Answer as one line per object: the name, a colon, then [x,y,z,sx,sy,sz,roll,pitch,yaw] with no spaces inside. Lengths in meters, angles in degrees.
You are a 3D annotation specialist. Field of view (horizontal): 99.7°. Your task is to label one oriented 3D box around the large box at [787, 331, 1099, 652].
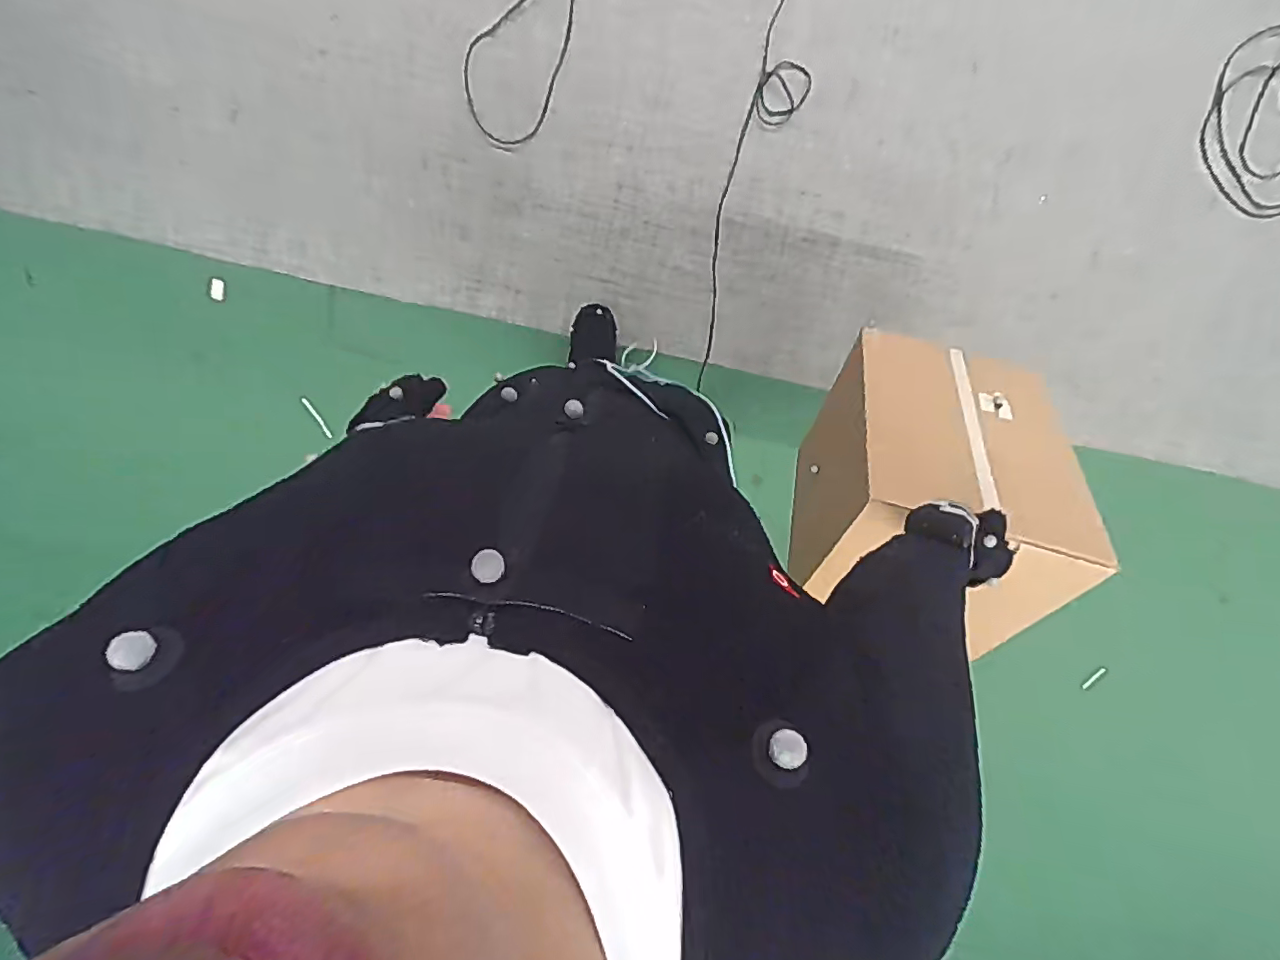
large box: [0.458,0.018,0.925,0.320,0.408,0.320,17,140,2]
